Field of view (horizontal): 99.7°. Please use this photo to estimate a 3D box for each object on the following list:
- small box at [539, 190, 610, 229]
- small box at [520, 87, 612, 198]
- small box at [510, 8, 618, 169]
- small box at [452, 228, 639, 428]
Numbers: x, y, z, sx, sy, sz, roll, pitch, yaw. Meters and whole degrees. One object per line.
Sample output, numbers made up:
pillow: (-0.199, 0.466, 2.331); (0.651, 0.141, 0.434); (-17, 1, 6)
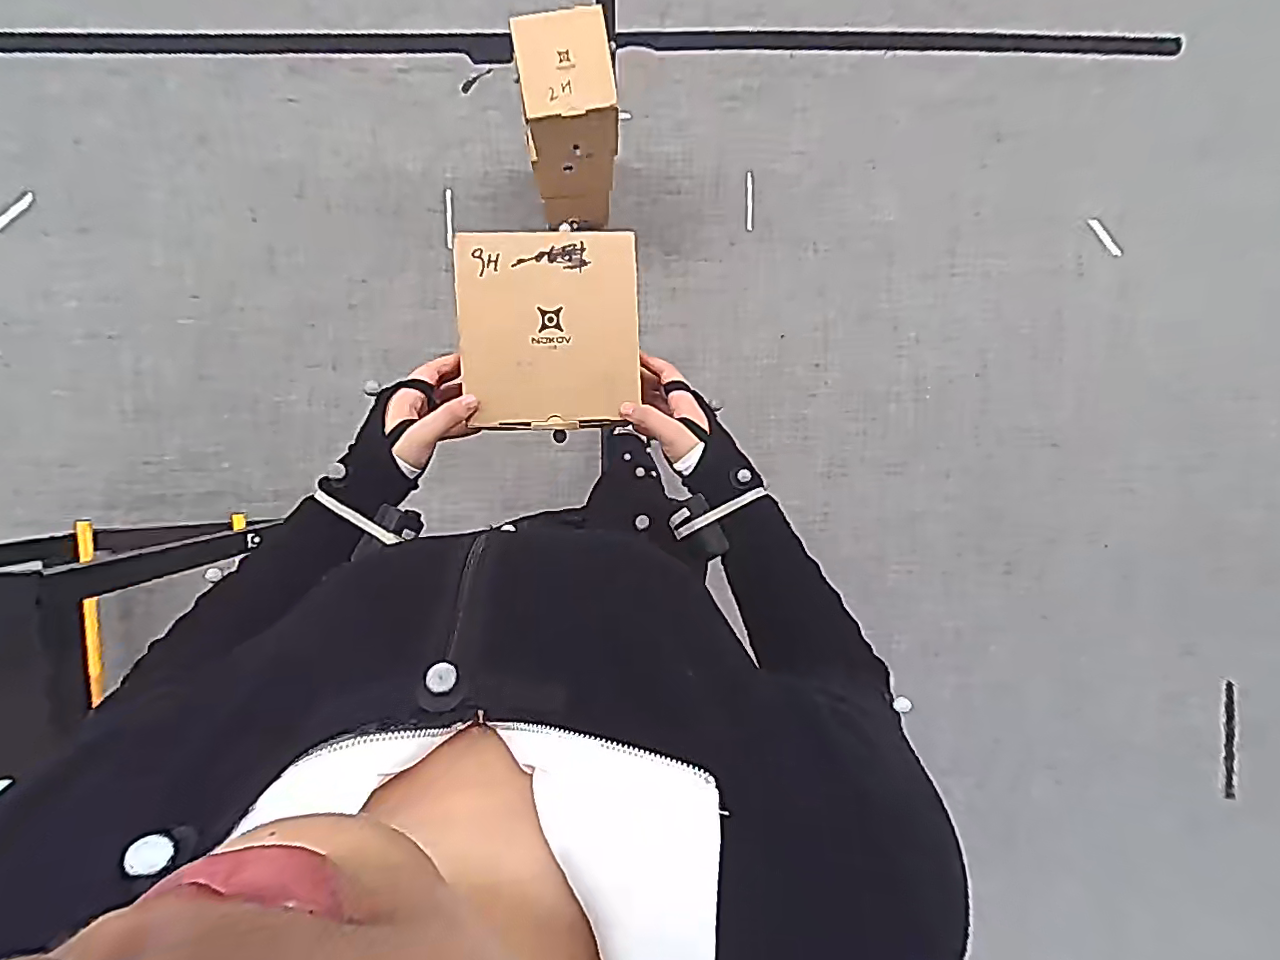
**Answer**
small box: (-0.168, -0.748, 1.351); (0.168, 0.176, 0.179); (-8, 95, -2)
small box: (-0.155, -0.742, 1.187); (0.179, 0.176, 0.168); (-6, 94, -3)
small box: (-0.138, -0.729, 1.023); (0.168, 0.176, 0.179); (-10, 94, -2)
small box: (-0.089, -0.147, 0.572); (0.168, 0.176, 0.179); (-3, 96, -4)
